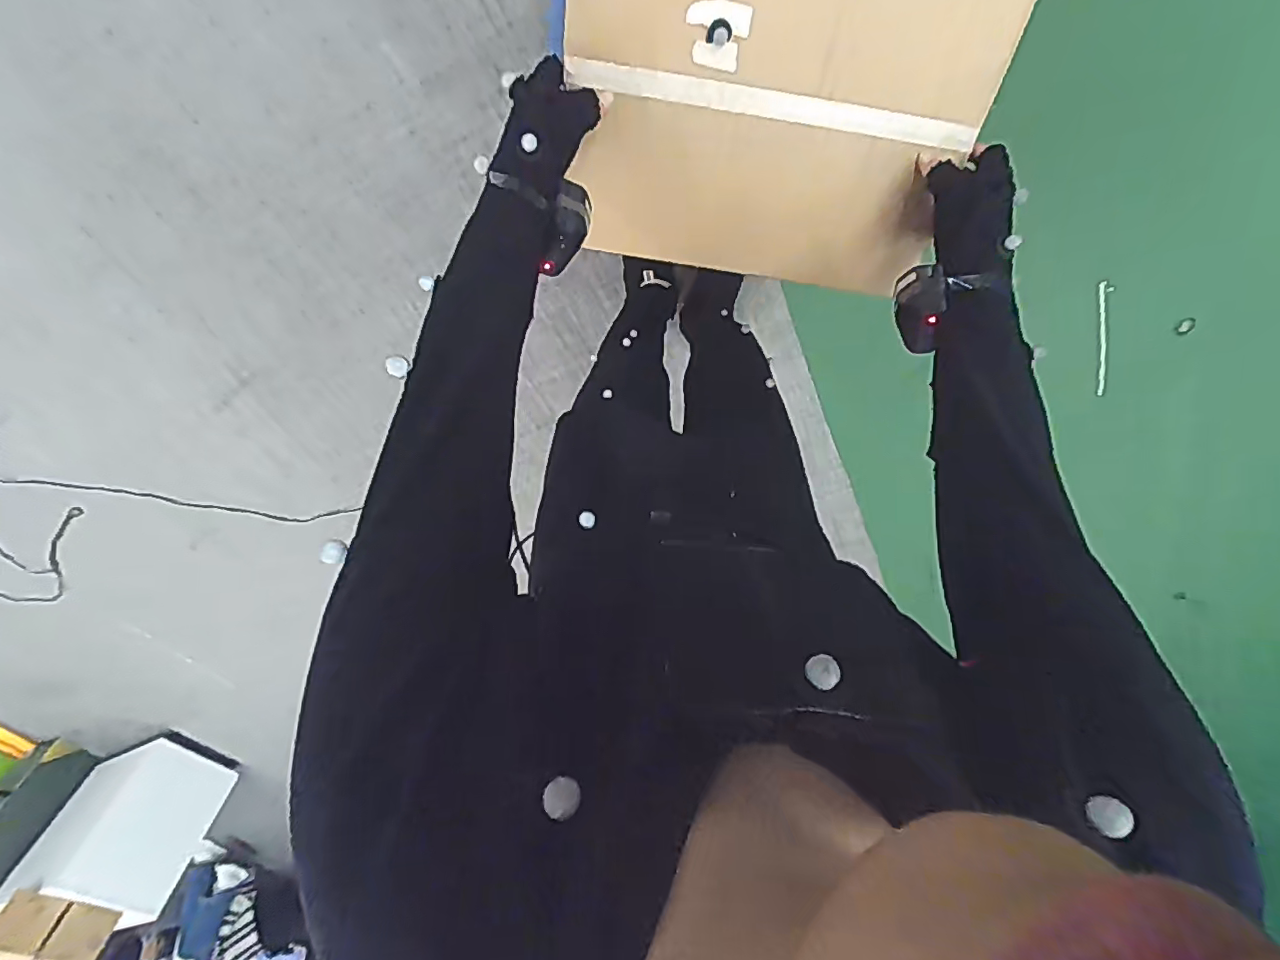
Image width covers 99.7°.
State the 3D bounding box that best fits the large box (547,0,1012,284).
[{"bbox_3d":[0.122,-0.459,0.634,0.408,0.320,0.320,8,127,-3],"label":"large box"}]
